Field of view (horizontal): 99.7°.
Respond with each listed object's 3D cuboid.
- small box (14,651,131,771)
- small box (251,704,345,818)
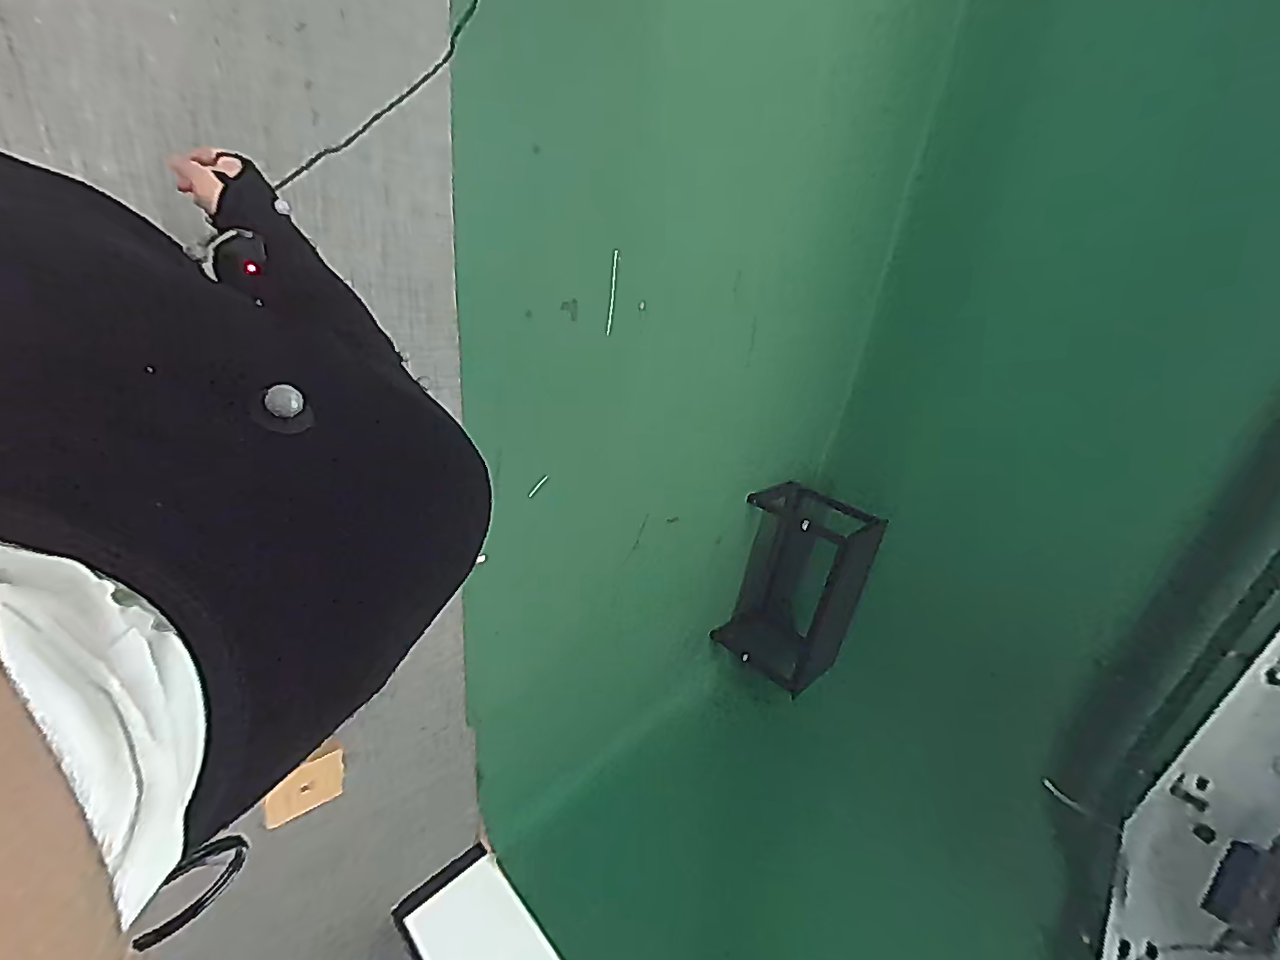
[{"bbox_3d":[-1.385,0.555,1.322,0.179,0.176,0.168,-12,122,-46],"label":"small box"},{"bbox_3d":[-0.909,0.735,1.438,0.179,0.176,0.168,-9,119,-45],"label":"small box"}]
